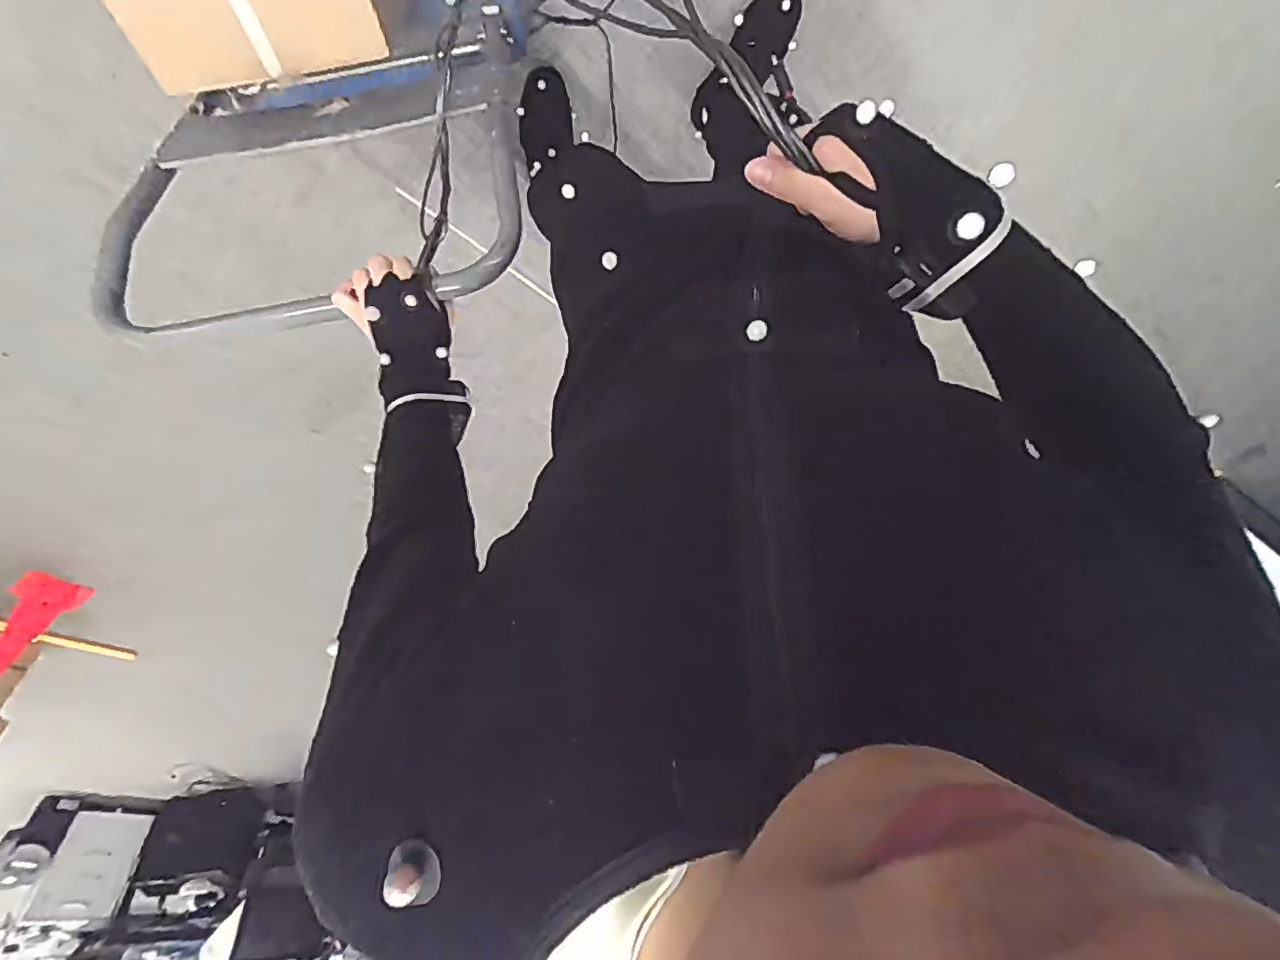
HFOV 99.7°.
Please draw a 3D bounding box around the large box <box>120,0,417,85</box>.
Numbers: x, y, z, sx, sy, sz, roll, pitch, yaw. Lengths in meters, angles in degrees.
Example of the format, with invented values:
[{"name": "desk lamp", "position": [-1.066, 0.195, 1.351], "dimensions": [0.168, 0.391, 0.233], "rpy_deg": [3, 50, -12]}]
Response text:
[{"name": "large box", "position": [-0.524, -0.798, 0.673], "dimensions": [0.320, 0.320, 0.408], "rpy_deg": [-11, 141, 0]}]
